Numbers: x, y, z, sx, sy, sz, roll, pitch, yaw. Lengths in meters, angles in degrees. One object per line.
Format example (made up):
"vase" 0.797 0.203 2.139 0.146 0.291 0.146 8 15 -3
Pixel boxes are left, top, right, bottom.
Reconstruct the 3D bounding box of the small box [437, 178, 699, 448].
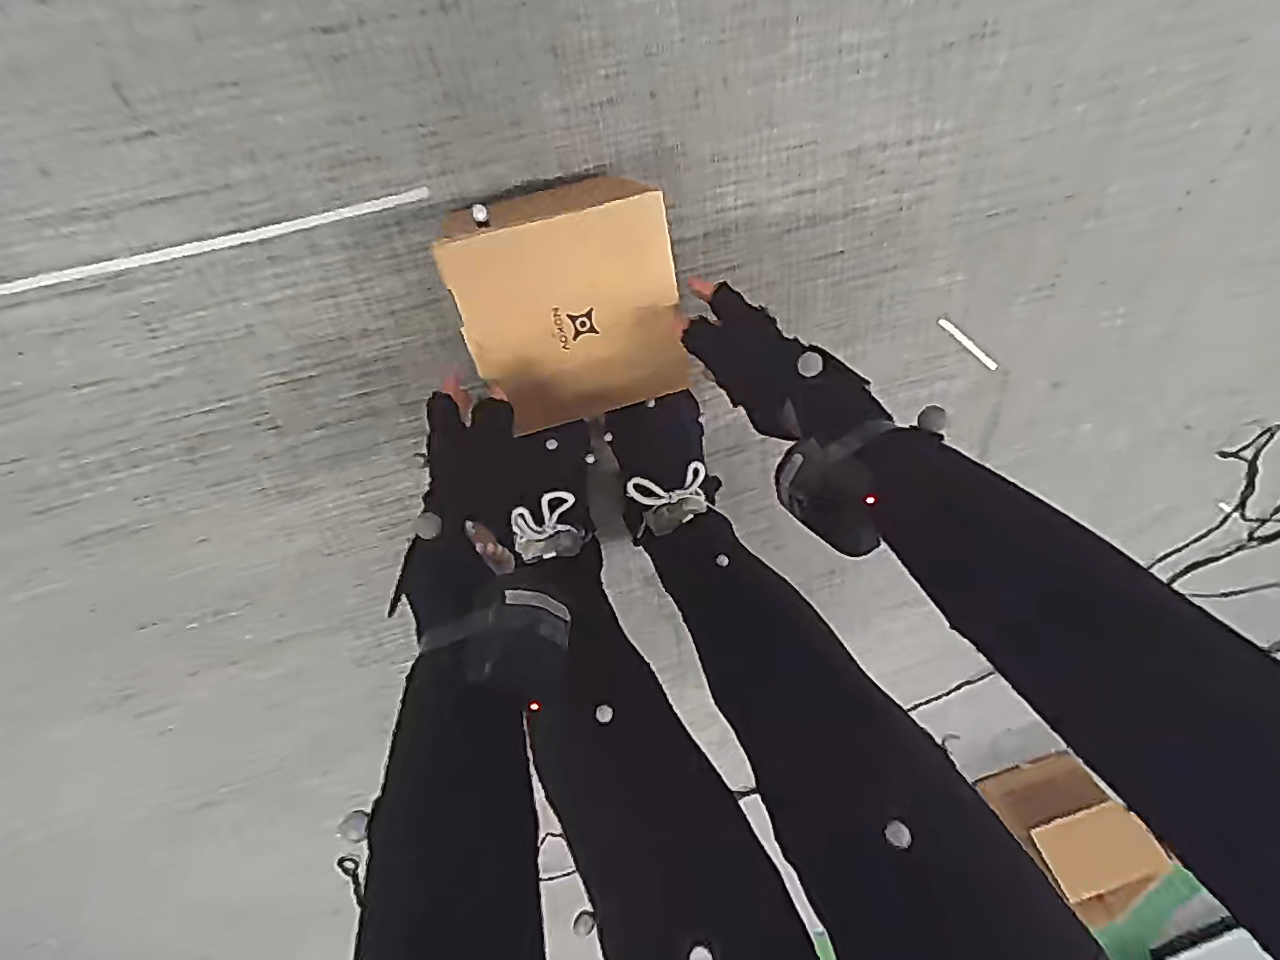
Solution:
"small box" -0.063 -0.159 0.487 0.179 0.176 0.168 -17 125 -4
